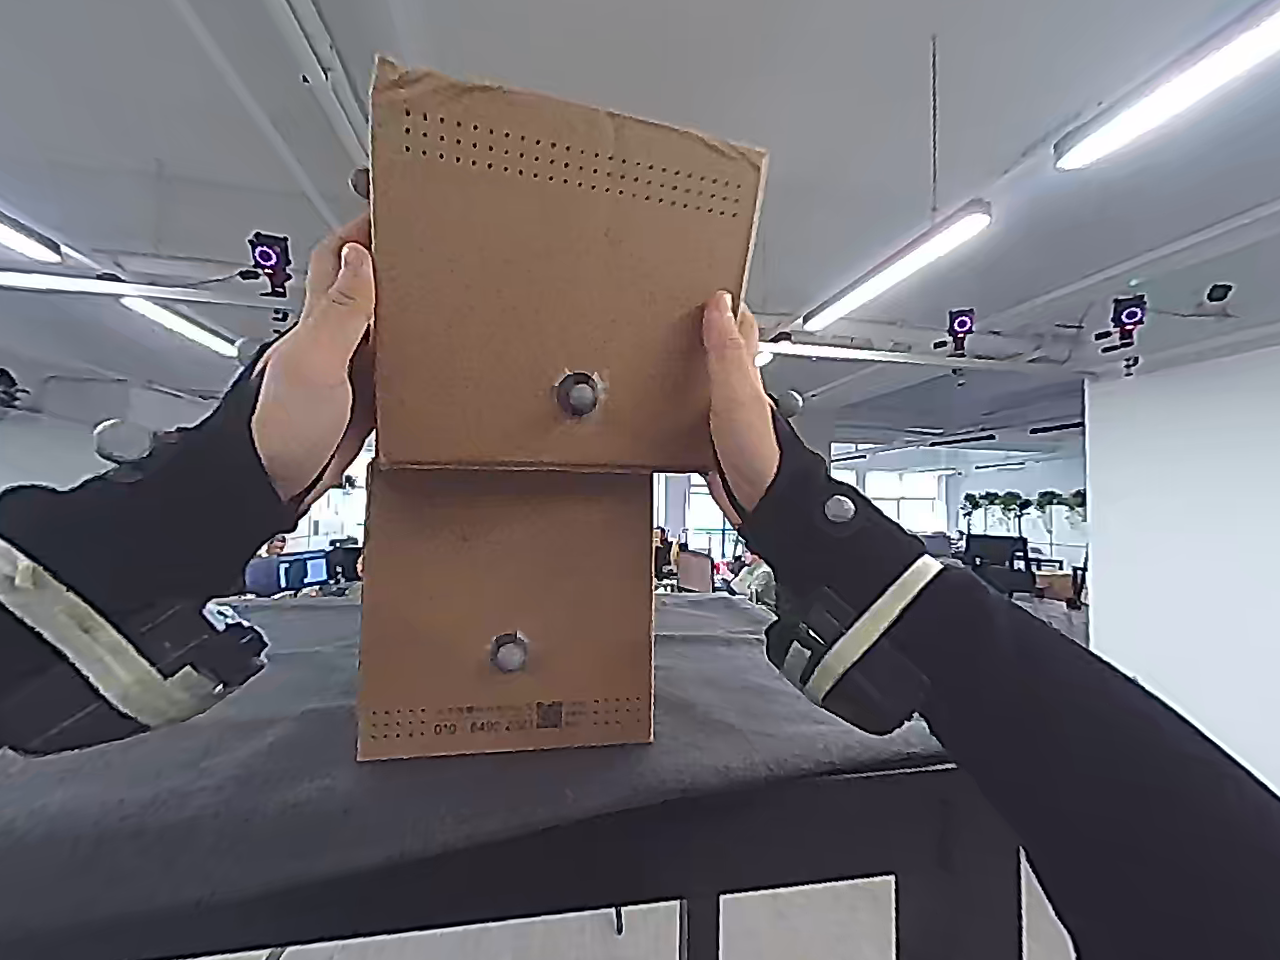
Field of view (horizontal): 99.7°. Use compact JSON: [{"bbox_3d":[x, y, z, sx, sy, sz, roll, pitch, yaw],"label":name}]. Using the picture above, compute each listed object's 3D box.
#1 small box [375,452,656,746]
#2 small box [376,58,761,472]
[{"bbox_3d":[-0.085,0.074,0.396,0.168,0.176,0.179,0,-3,-10],"label":"small box"},{"bbox_3d":[-0.050,-0.112,0.321,0.179,0.176,0.168,2,18,-19],"label":"small box"}]
